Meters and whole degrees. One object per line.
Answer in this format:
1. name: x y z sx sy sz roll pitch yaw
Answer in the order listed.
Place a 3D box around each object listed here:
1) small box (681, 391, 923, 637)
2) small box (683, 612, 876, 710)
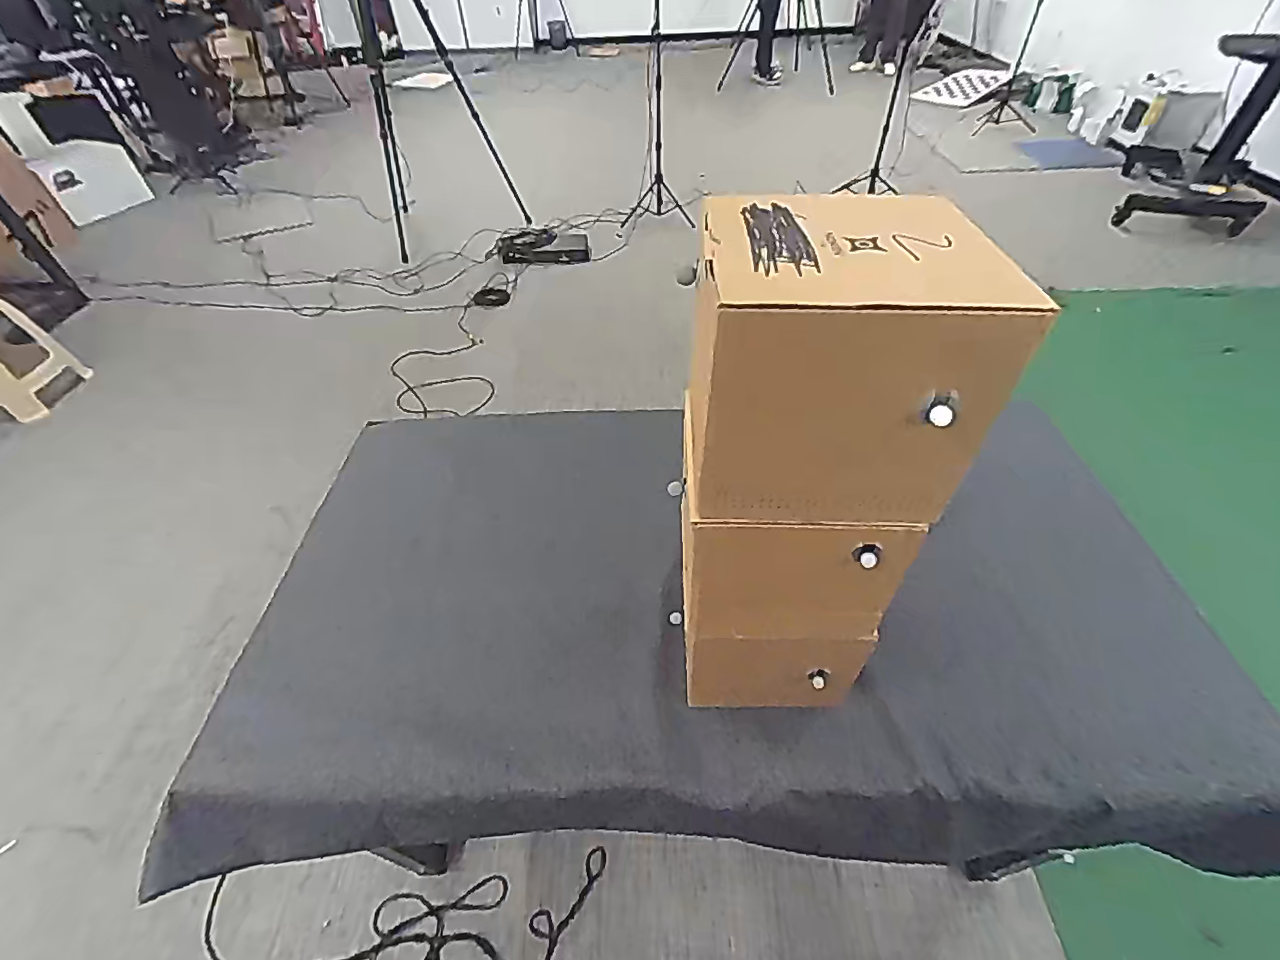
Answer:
1. small box: 0.126 0.033 0.506 0.179 0.176 0.168 1 45 2
2. small box: 0.140 0.149 0.619 0.179 0.176 0.168 -2 45 3
